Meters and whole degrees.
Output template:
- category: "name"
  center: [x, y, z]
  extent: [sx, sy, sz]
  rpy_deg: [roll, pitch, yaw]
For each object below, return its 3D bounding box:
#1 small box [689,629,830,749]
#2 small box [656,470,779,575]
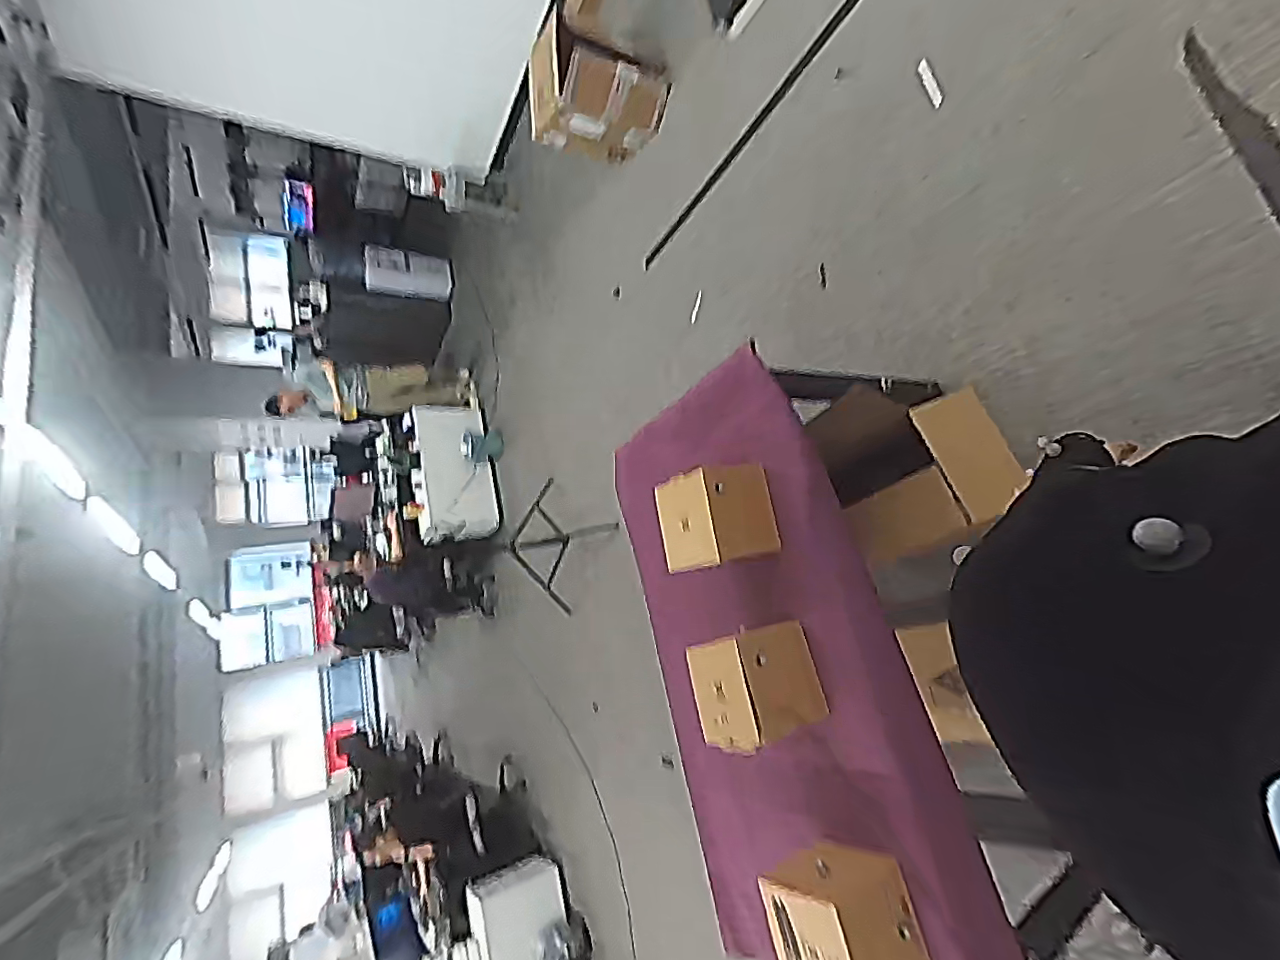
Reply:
- category: "small box"
  center: [0.223, 0.389, 1.023]
  extent: [0.168, 0.176, 0.179]
  rpy_deg: [-39, 61, 54]
- category: "small box"
  center: [0.158, 0.085, 1.095]
  extent: [0.168, 0.176, 0.179]
  rpy_deg: [-26, 71, 55]
